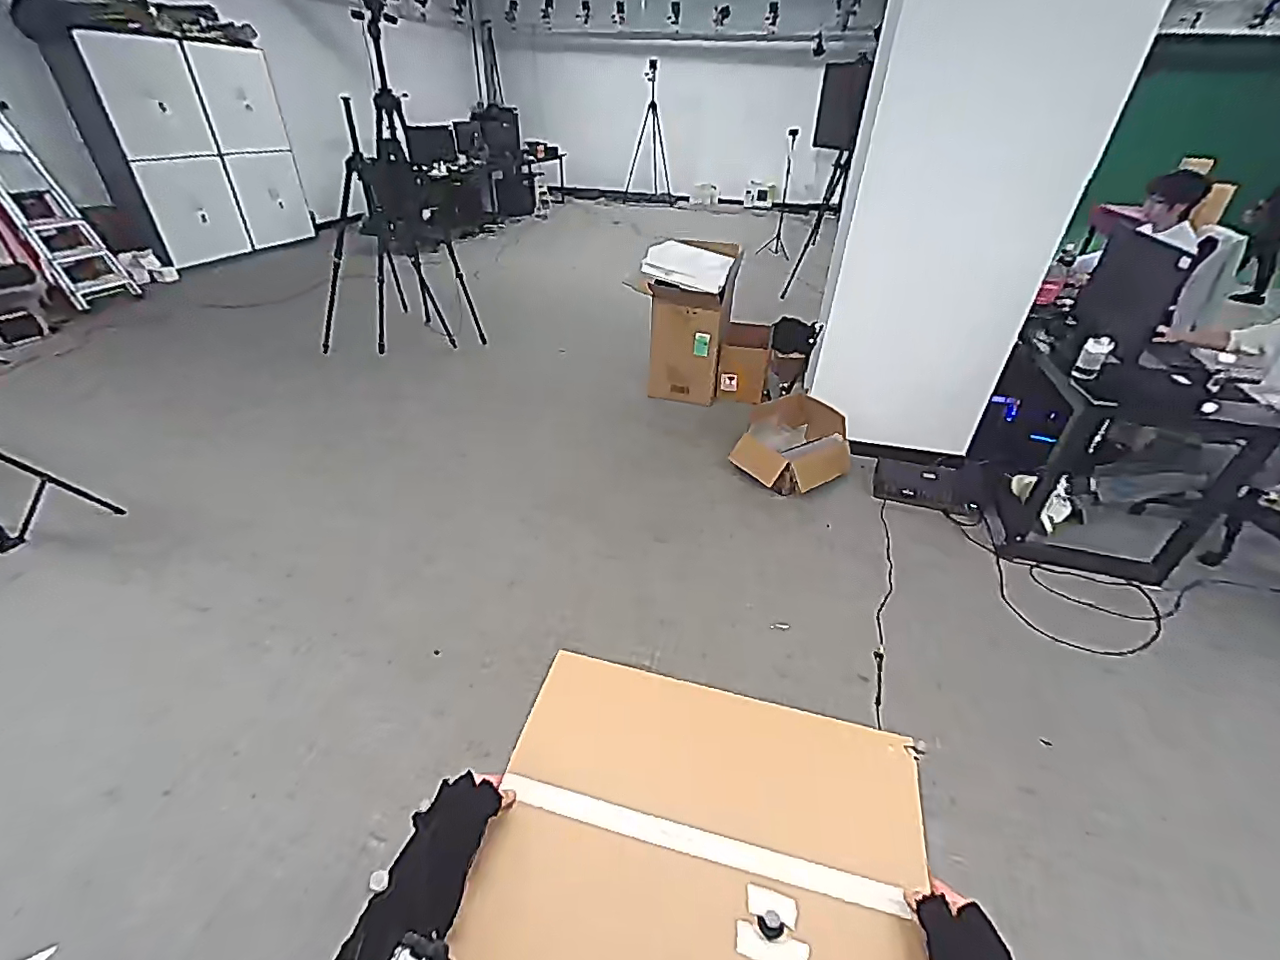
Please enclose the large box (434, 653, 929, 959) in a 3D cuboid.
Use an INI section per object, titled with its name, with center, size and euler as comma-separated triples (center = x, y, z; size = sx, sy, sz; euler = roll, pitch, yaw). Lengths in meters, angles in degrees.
[large box]
center = 0.052, 0.450, 0.605
size = 0.408, 0.320, 0.320
euler = 11, 41, 10
